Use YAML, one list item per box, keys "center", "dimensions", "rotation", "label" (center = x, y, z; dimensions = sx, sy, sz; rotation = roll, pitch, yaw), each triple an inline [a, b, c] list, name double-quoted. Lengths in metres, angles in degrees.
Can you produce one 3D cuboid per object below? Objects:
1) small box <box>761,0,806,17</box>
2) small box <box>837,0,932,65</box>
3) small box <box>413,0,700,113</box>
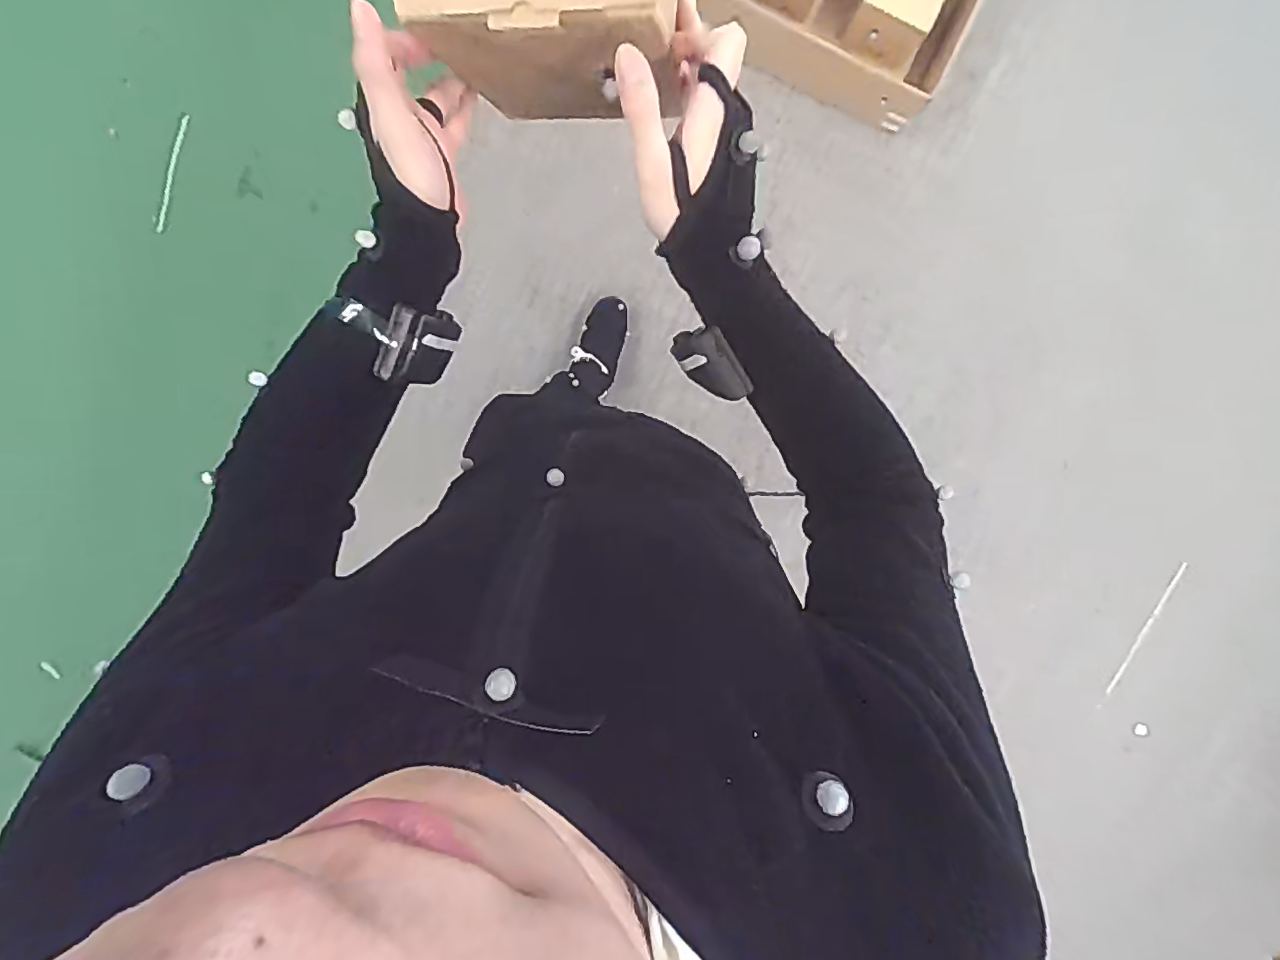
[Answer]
- center: [0.352, -1.247, 1.262]
  dimensions: [0.168, 0.176, 0.179]
  rotation: [21, 100, -6]
  label: "small box"
- center: [0.593, -1.146, 1.286]
  dimensions: [0.168, 0.176, 0.179]
  rotation: [22, 100, -4]
  label: "small box"
- center: [-0.043, -0.385, 0.382]
  dimensions: [0.168, 0.176, 0.179]
  rotation: [7, 106, 8]
  label: "small box"
